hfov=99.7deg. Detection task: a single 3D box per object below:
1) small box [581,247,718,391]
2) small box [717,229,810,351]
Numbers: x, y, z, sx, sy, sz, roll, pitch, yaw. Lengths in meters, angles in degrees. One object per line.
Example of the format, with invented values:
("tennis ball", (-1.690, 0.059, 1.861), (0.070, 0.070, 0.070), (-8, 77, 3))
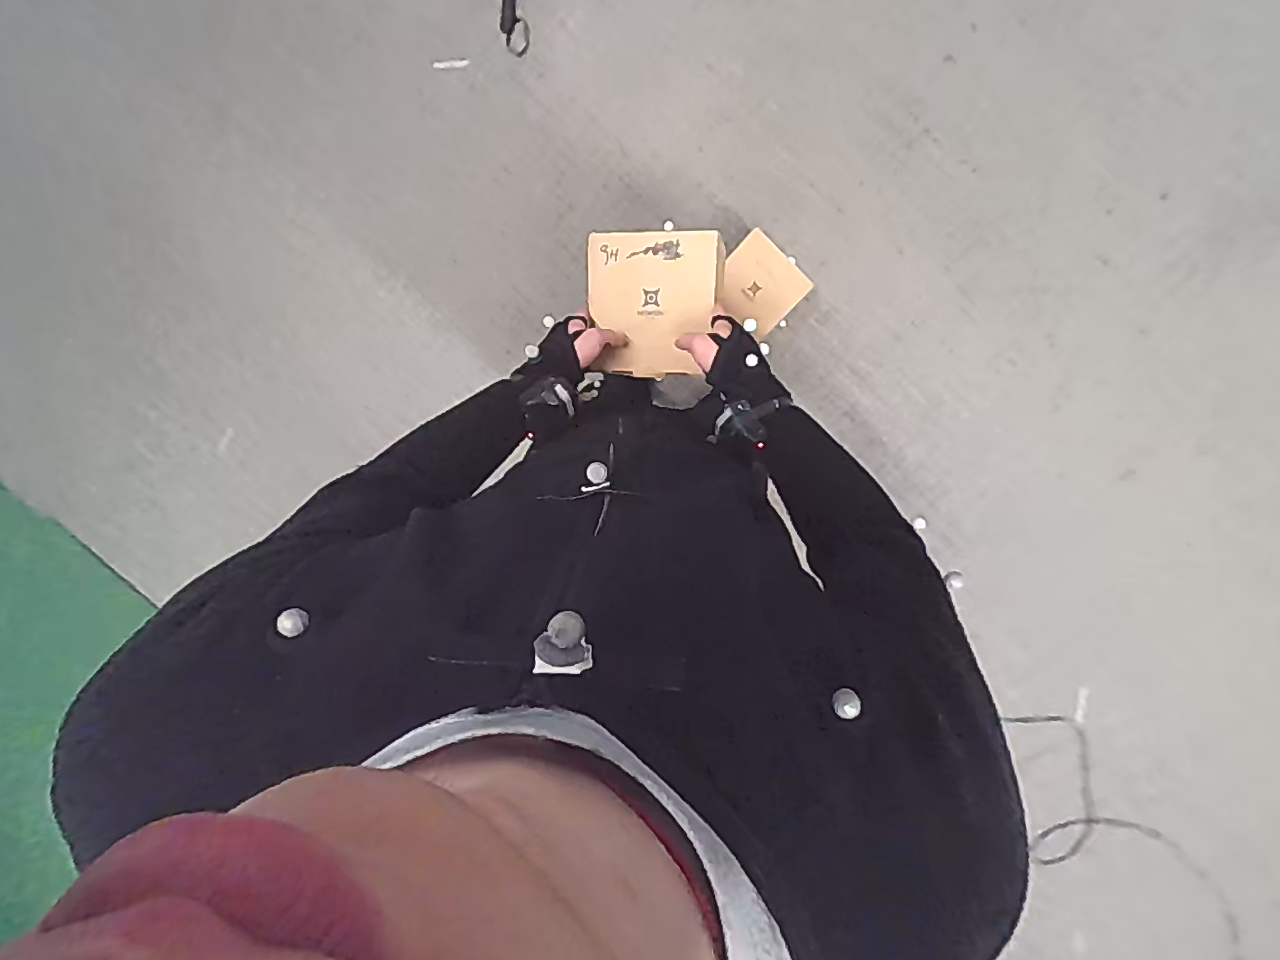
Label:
("small box", (0.021, -0.227, 0.762), (0.168, 0.176, 0.179), (3, 108, 11))
("small box", (0.239, -0.400, 1.157), (0.168, 0.176, 0.179), (43, 110, -5))
